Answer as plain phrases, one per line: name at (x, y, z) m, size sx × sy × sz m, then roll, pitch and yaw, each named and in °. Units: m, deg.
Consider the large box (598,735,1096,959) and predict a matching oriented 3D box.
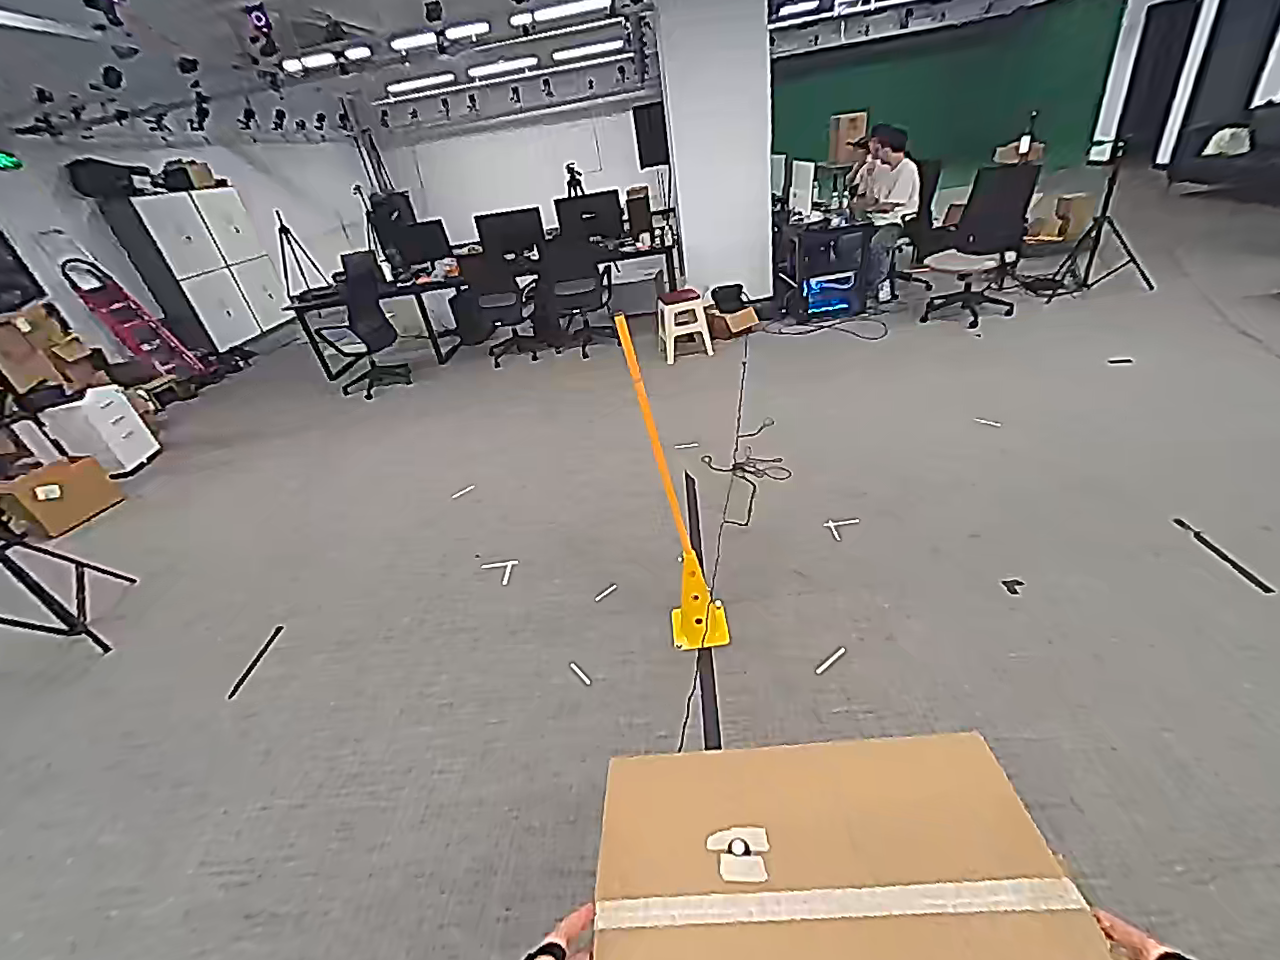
large box at (0.186, 0.508, 0.541) m, size 0.408 × 0.320 × 0.320 m, roll -9°, pitch 26°, yaw 6°
